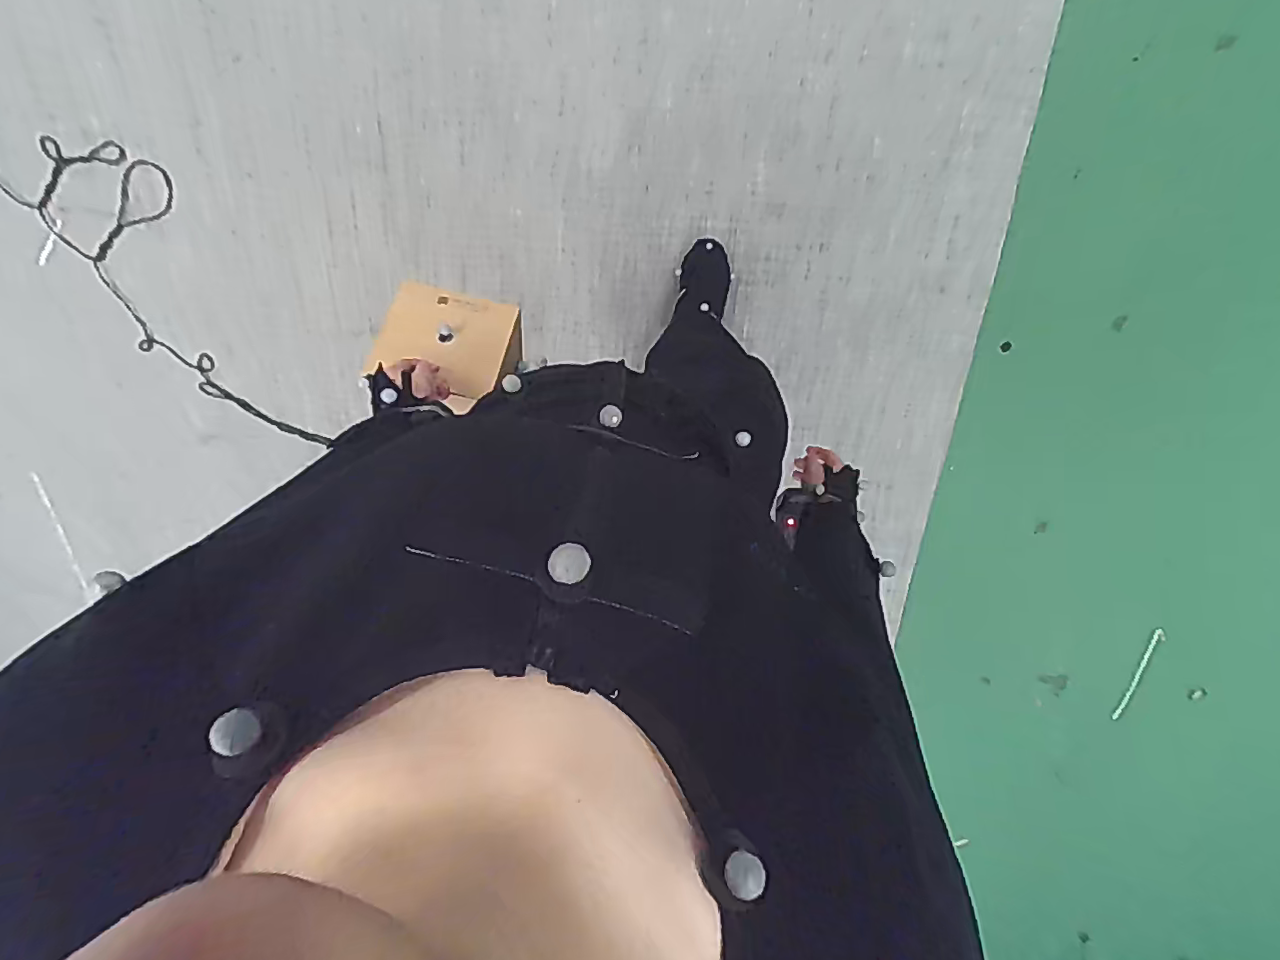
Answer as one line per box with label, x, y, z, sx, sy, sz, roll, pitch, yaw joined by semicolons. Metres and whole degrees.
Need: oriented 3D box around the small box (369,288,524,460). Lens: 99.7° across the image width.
small box;-0.271;-0.154;0.802;0.168;0.176;0.179;10;153;-5
